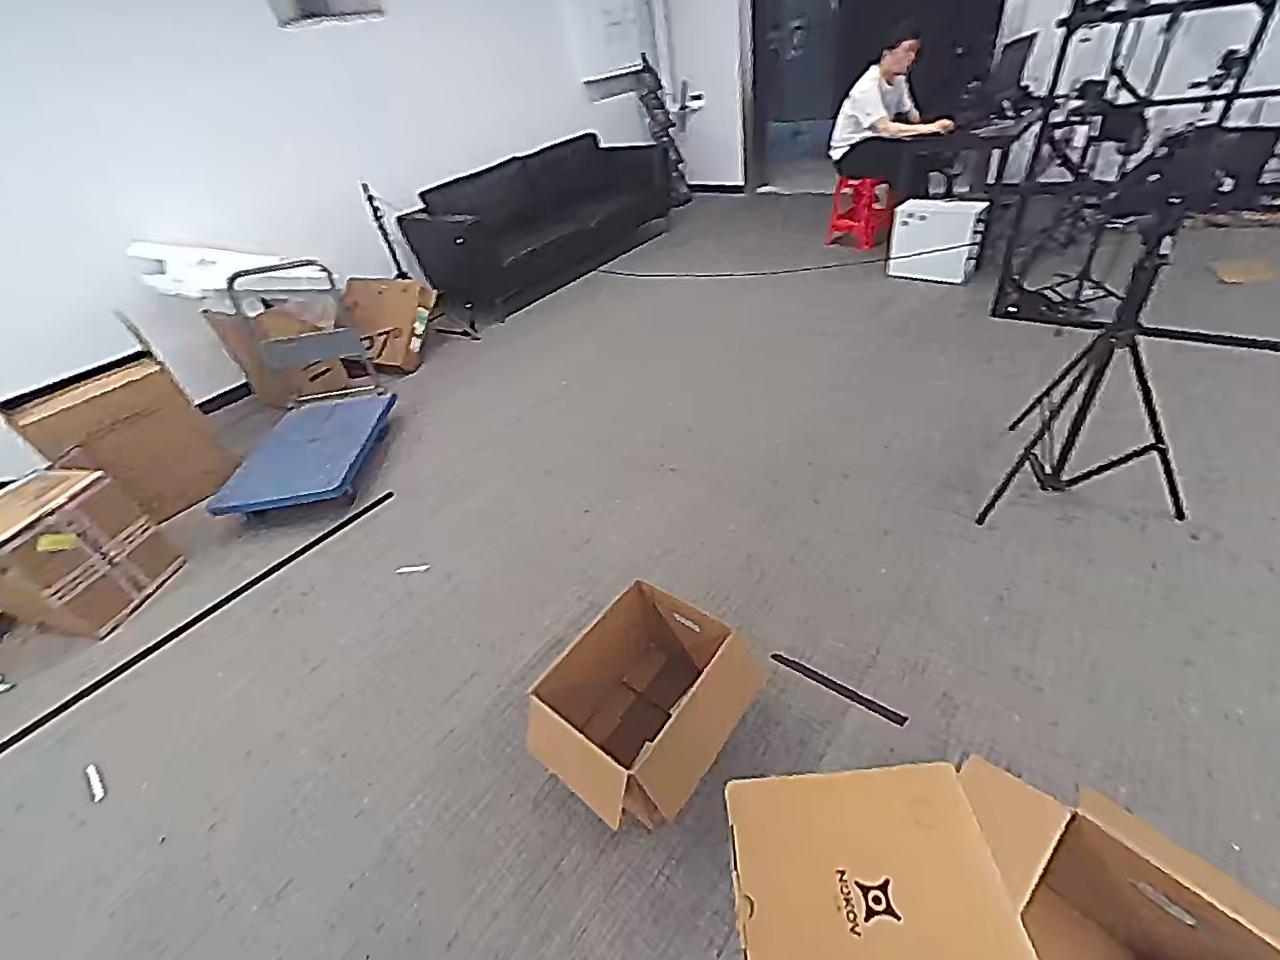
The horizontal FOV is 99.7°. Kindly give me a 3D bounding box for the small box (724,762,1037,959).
[{"bbox_3d":[0.166,0.337,0.405,0.179,0.176,0.168,-10,37,8],"label":"small box"}]
